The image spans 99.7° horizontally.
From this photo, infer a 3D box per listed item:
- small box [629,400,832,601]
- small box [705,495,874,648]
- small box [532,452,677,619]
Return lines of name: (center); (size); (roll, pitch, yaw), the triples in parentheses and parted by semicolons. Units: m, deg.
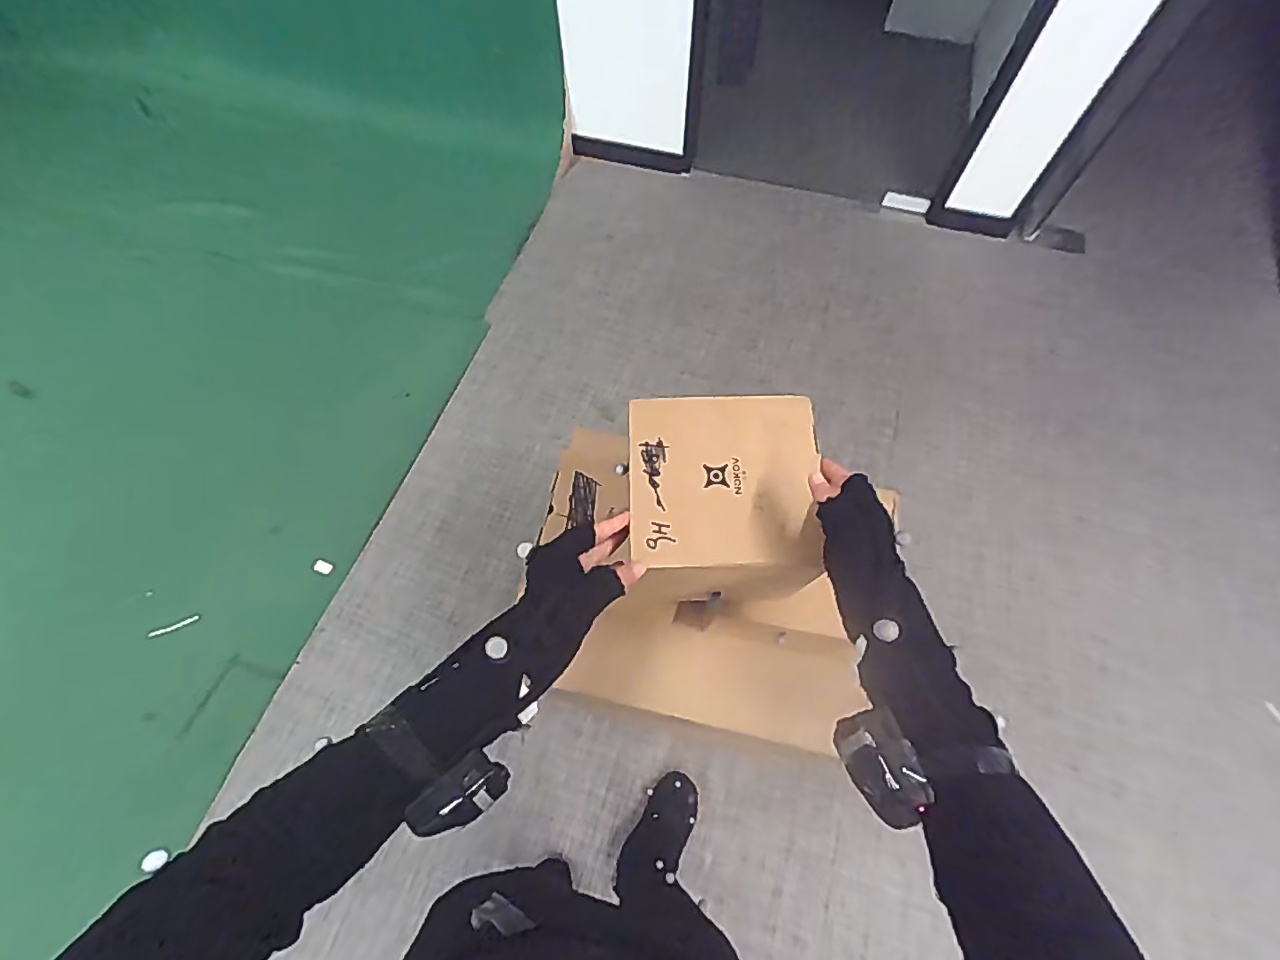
small box: (0.077, 0.030, 0.565); (0.179, 0.176, 0.168); (-1, 68, -1)
small box: (0.185, 0.119, 0.705); (0.179, 0.176, 0.168); (9, 69, 3)
small box: (-0.025, 0.082, 0.721); (0.179, 0.176, 0.168); (10, 68, 4)
